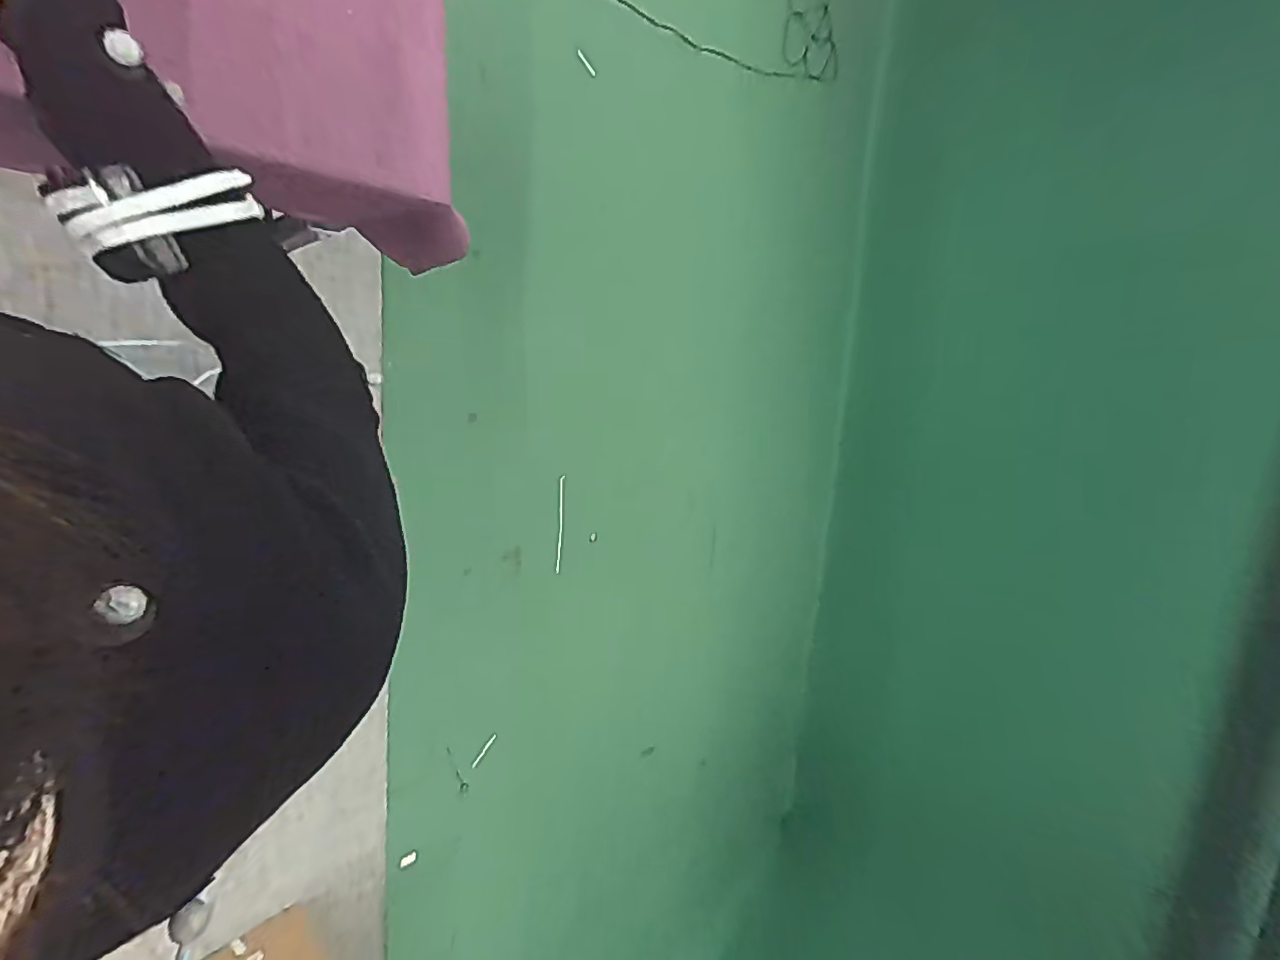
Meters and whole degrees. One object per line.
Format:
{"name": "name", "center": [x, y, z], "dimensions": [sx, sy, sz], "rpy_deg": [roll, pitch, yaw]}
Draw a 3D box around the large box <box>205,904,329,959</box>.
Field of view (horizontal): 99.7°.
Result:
{"name": "large box", "center": [-0.958, 1.422, 1.360], "dimensions": [0.320, 0.320, 0.408], "rpy_deg": [-9, 107, -47]}
